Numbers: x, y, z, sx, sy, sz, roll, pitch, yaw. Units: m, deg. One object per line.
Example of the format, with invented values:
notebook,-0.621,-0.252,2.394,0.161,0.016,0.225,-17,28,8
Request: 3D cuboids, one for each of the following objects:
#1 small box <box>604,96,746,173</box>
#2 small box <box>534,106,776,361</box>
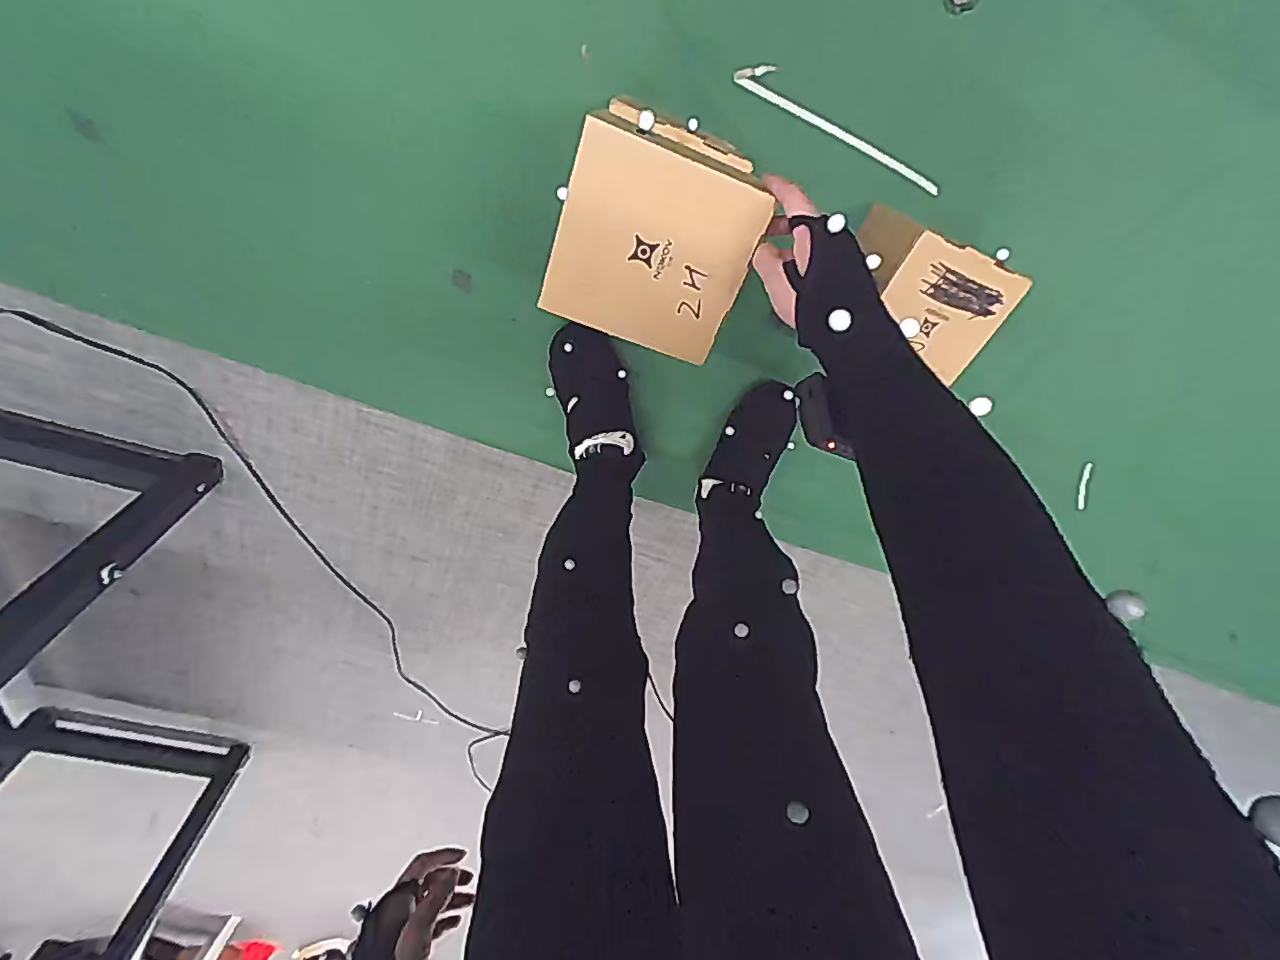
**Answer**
small box,0.015,-0.351,0.682,0.168,0.176,0.179,18,123,-11
small box,0.009,-0.252,0.551,0.179,0.176,0.168,17,124,-12
